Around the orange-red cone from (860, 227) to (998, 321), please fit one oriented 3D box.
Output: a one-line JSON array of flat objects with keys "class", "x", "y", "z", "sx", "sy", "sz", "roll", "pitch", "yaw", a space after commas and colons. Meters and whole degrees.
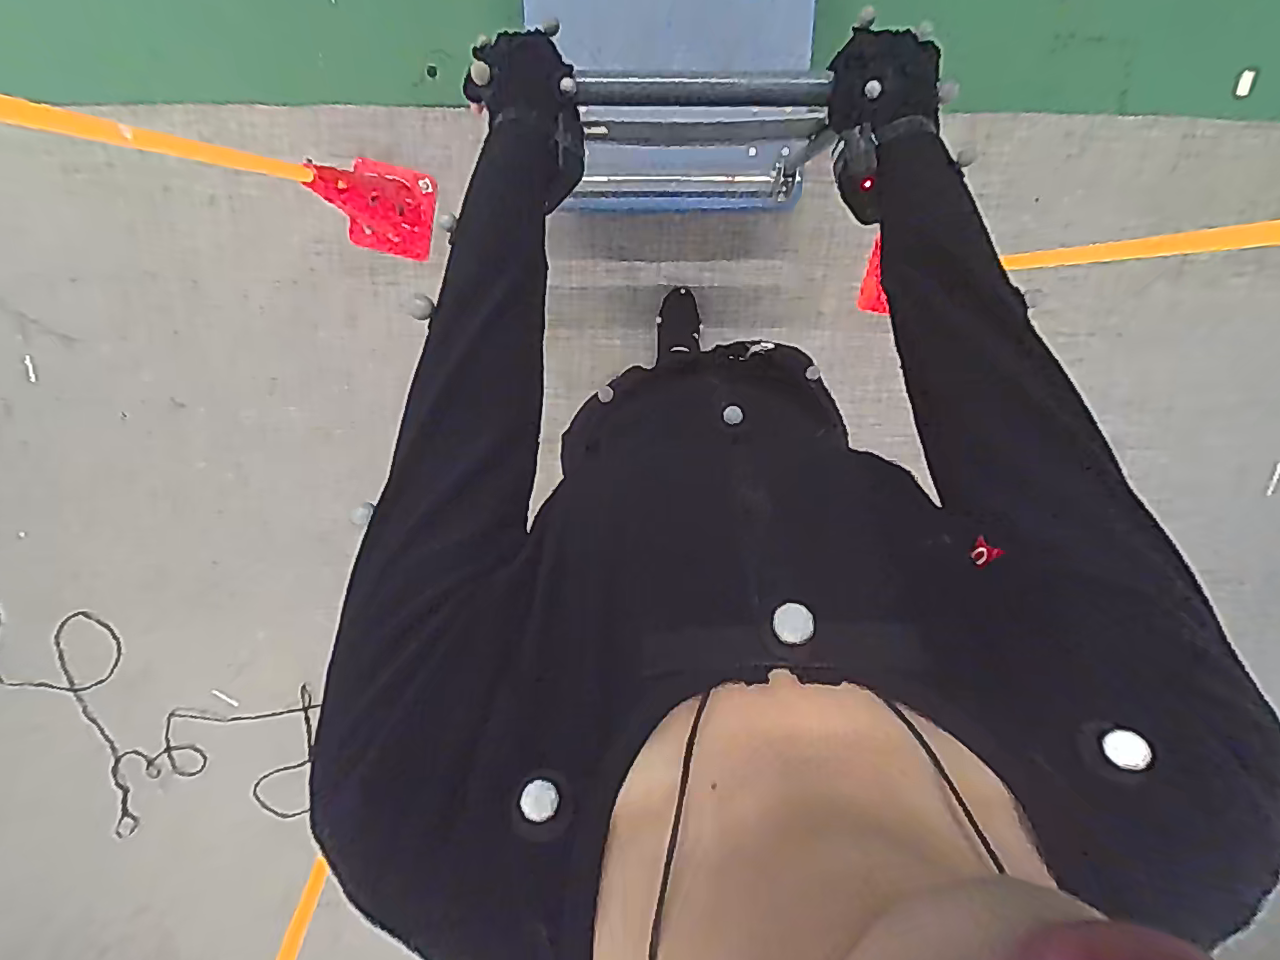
[{"class": "orange-red cone", "x": 0.670, "y": -0.464, "z": 1.199, "sx": 0.198, "sy": 0.360, "sz": 0.199, "roll": 12, "pitch": 108, "yaw": -3}]
